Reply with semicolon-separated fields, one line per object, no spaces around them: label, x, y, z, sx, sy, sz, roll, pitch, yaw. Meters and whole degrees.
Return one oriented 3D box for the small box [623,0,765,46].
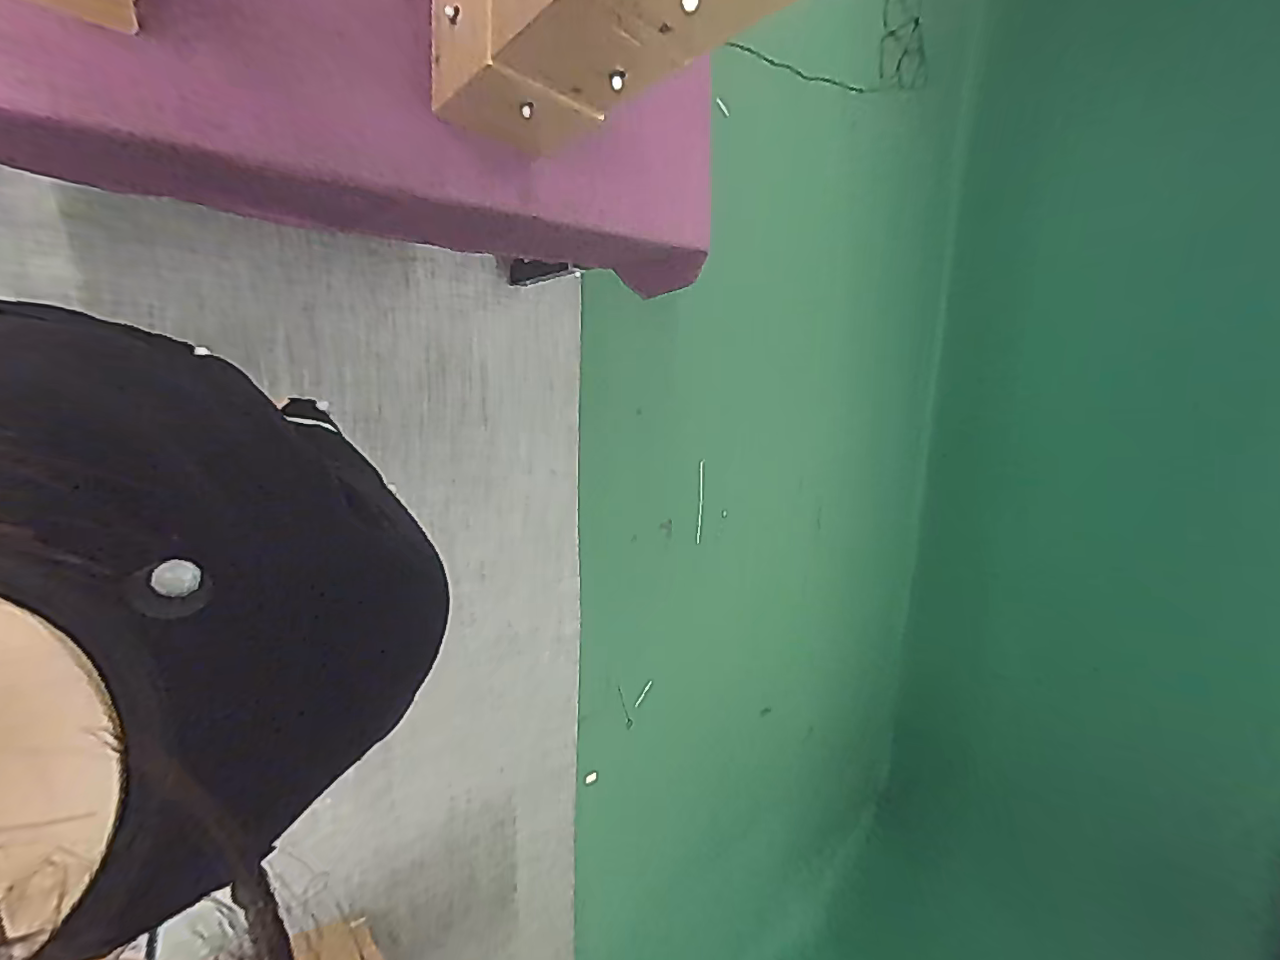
small box;0.055;-0.541;0.480;0.168;0.176;0.179;-5;102;-42

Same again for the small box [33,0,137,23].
small box;-0.519;-0.510;0.417;0.179;0.176;0.168;-9;104;-41

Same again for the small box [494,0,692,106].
small box;-0.052;-0.563;0.603;0.168;0.176;0.179;-4;99;-42

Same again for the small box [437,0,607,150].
small box;-0.160;-0.576;0.725;0.179;0.176;0.168;-3;101;-42
